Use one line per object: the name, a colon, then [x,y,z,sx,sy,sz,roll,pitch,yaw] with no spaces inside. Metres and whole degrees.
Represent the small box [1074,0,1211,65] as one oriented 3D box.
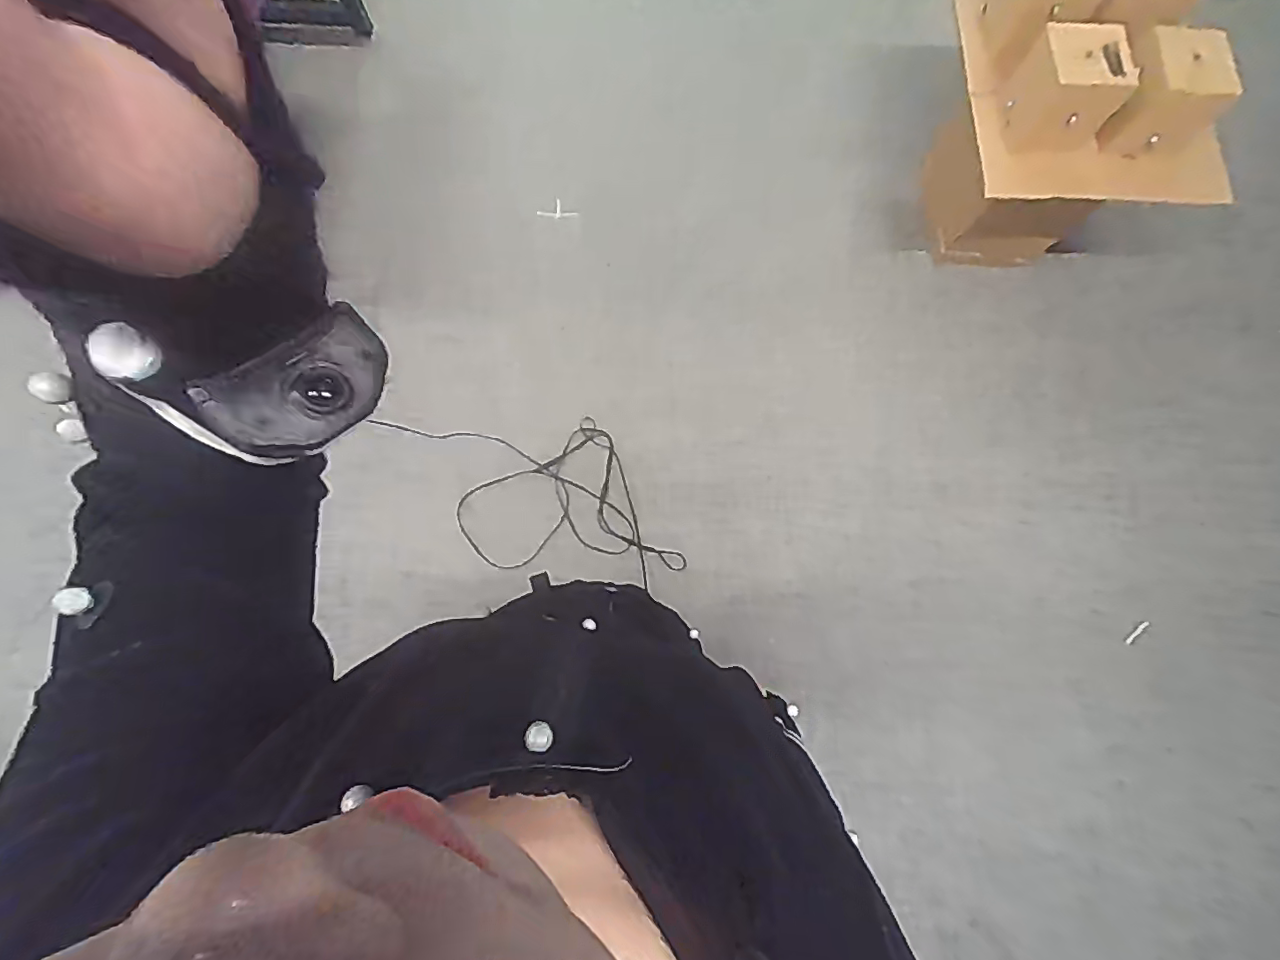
small box: [1.171,-1.122,1.275,0.179,0.176,0.168,0,77,-3]
